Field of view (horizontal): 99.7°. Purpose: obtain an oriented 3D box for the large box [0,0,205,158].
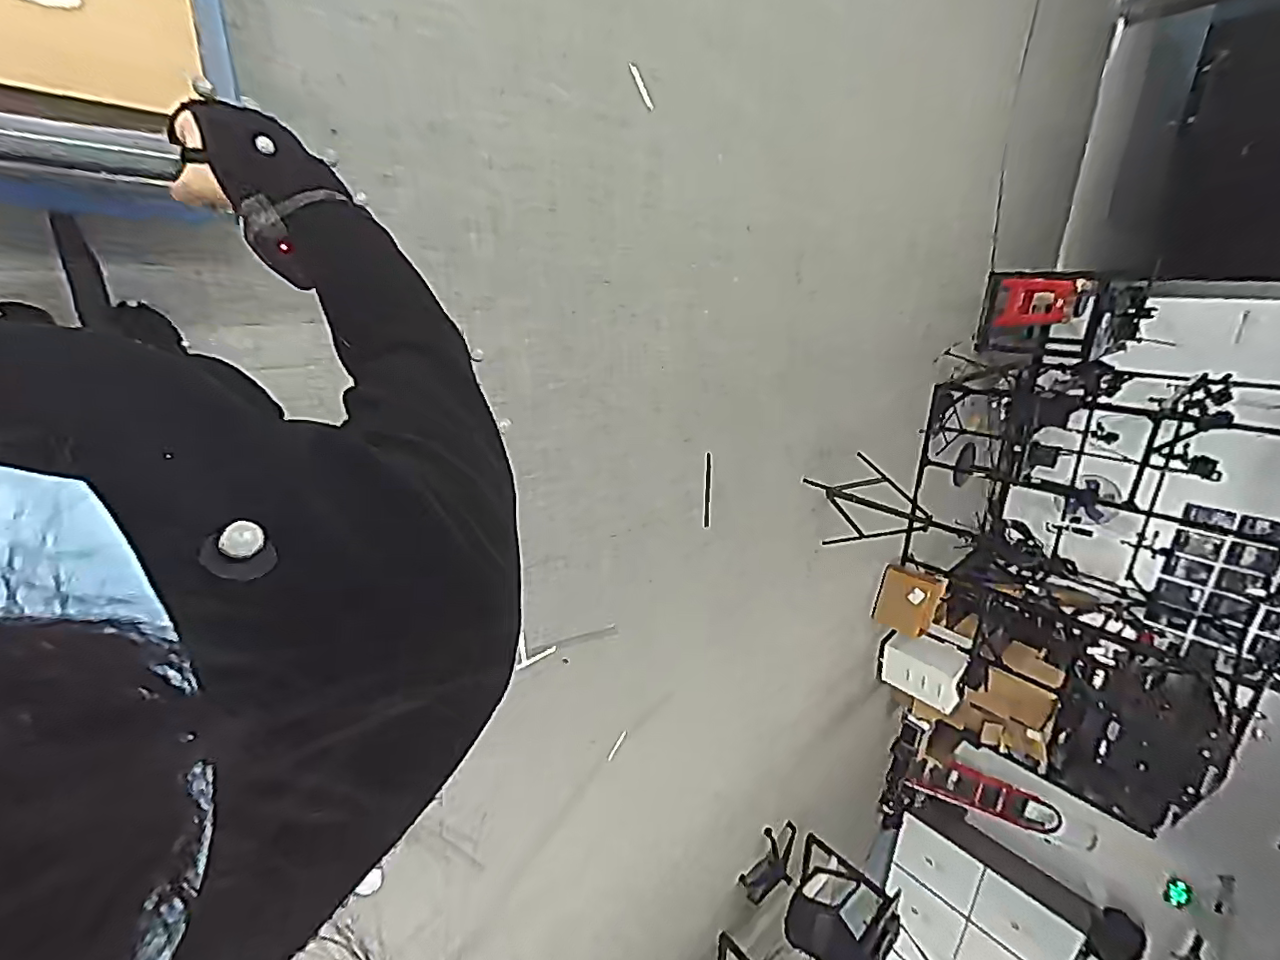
[{"bbox_3d":[-0.830,-0.616,0.652,0.408,0.320,0.320,-16,116,-41],"label":"large box"}]
